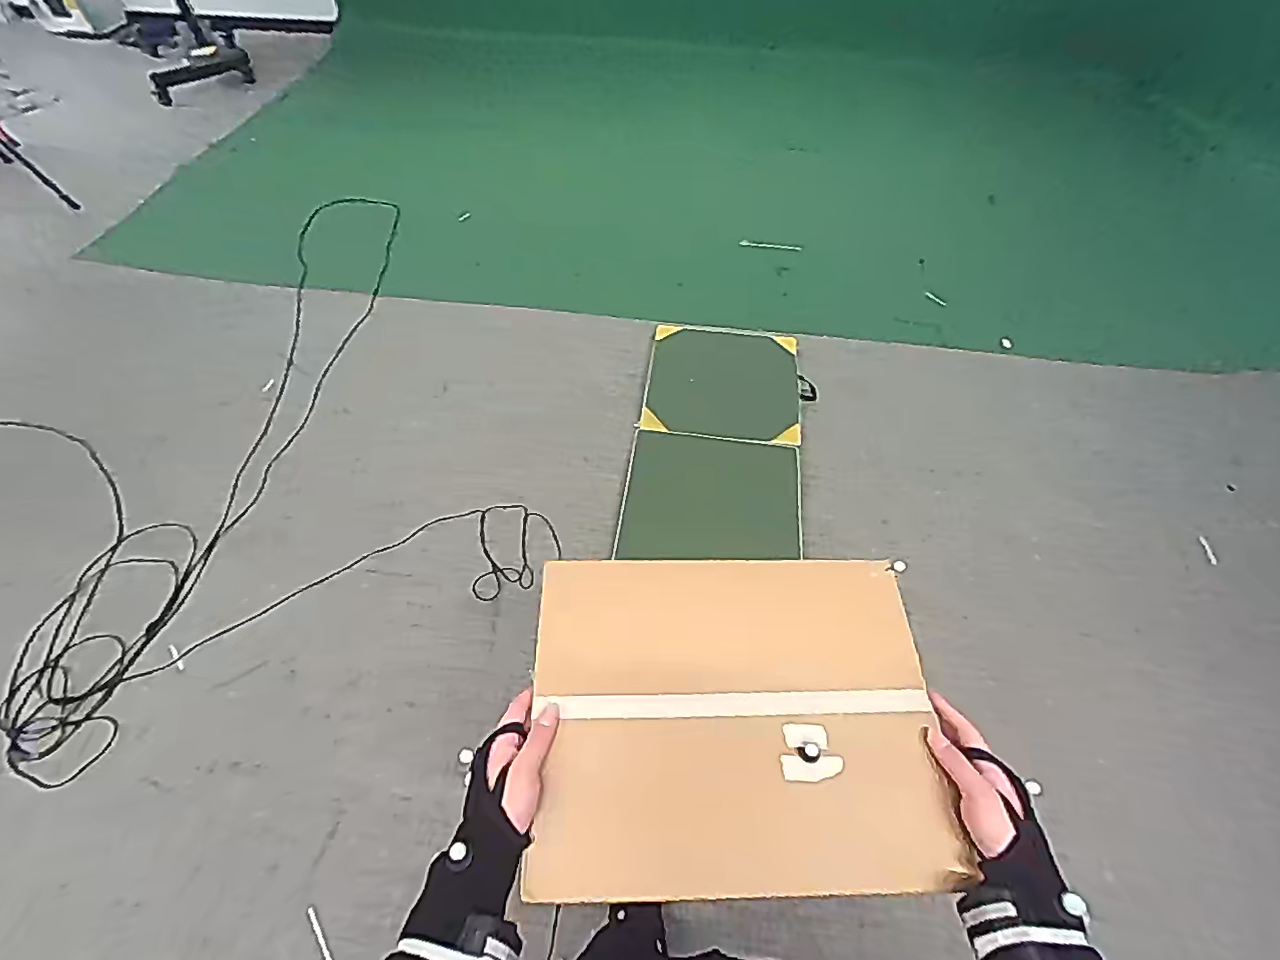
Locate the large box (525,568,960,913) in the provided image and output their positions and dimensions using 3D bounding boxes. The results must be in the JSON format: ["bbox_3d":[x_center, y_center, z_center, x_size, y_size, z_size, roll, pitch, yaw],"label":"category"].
[{"bbox_3d":[0.082,0.318,0.683,0.408,0.320,0.320,0,59,-3],"label":"large box"}]
